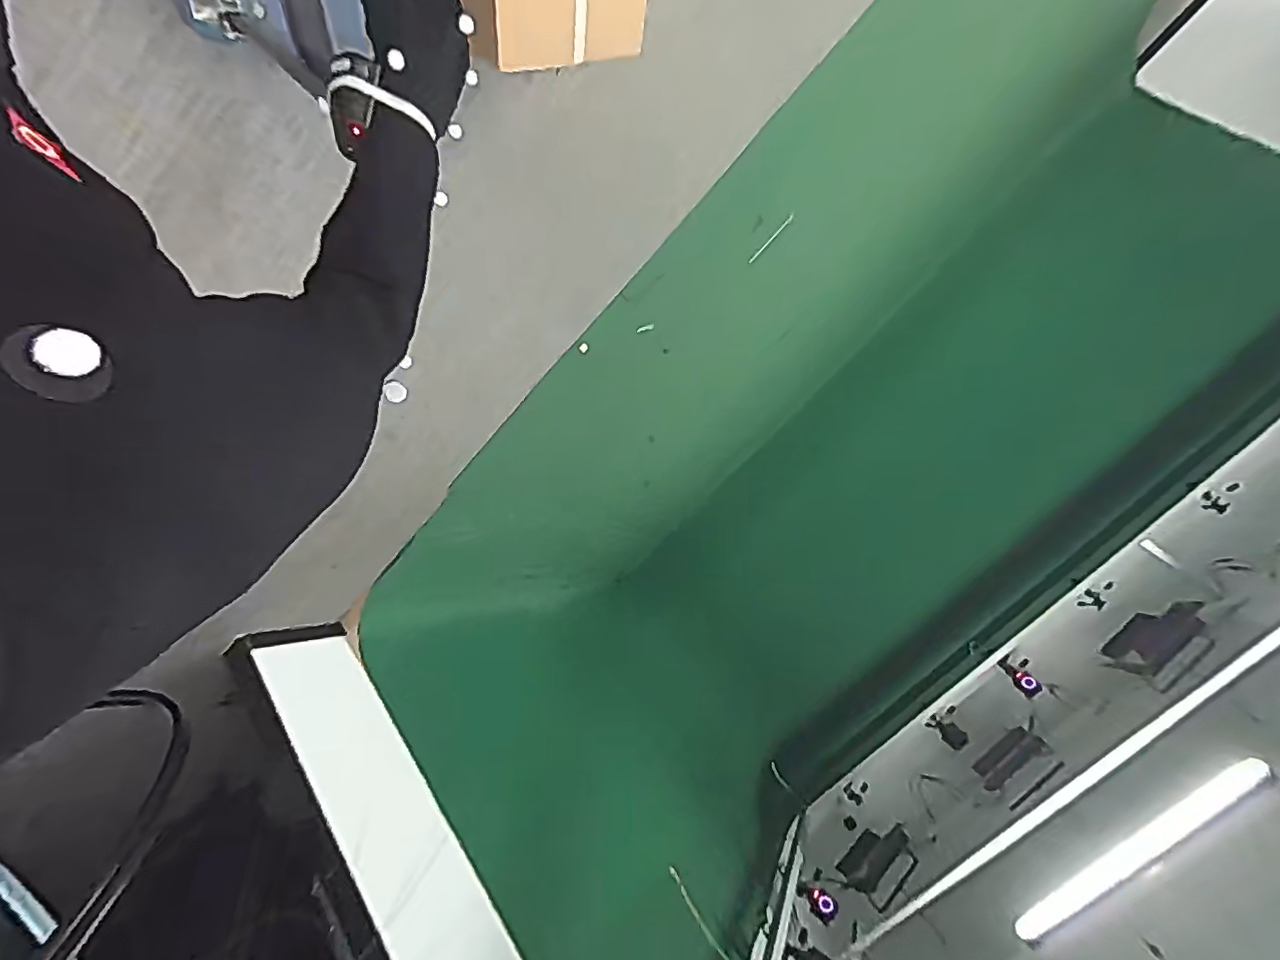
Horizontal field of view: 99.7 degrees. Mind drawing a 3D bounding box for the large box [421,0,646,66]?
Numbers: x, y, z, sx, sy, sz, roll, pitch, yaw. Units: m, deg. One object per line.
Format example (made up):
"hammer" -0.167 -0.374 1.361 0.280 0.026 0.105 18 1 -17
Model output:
"large box" -0.183 -0.974 0.869 0.320 0.320 0.408 -31 155 -27
